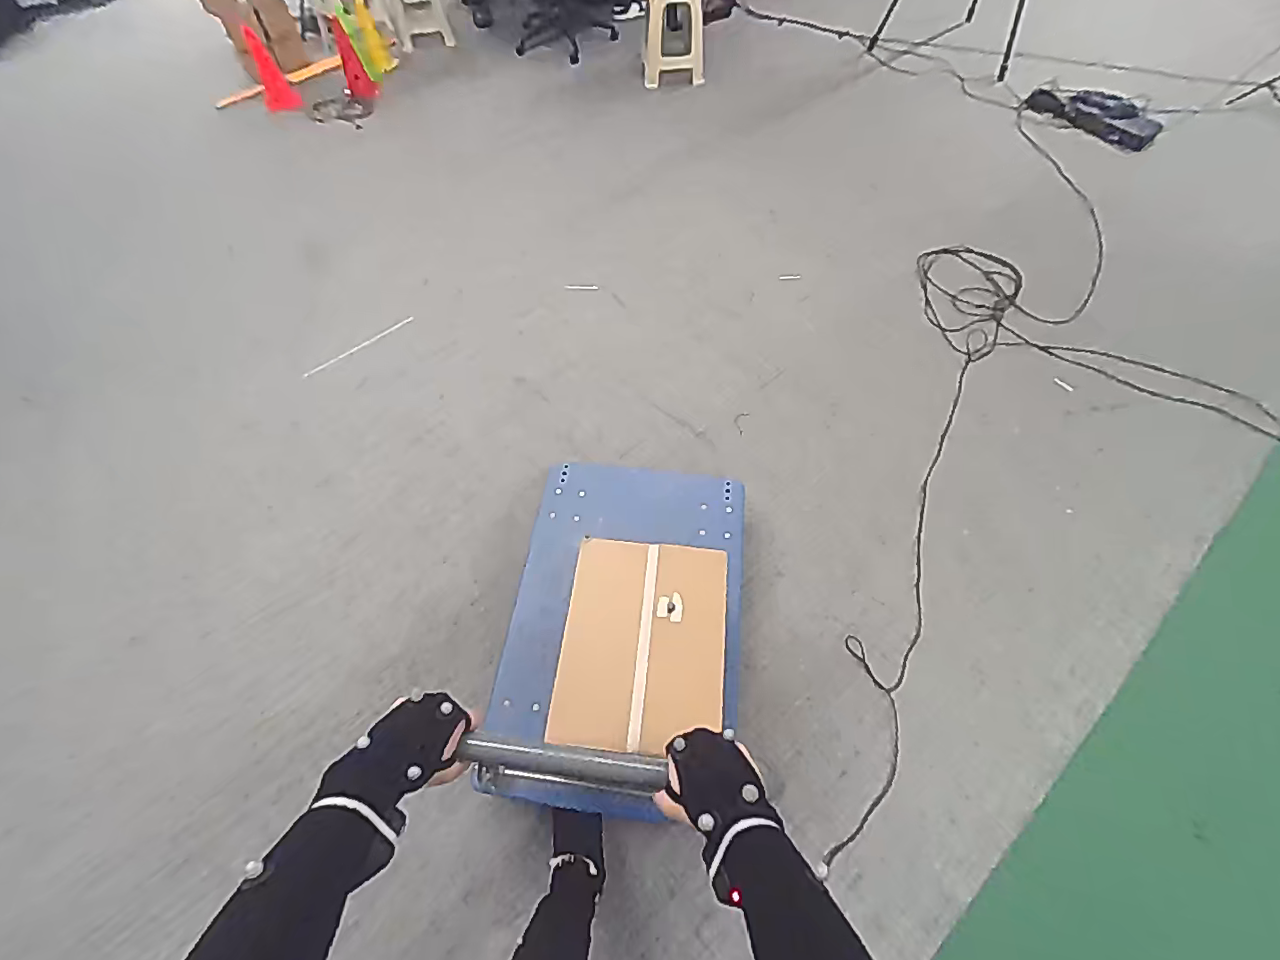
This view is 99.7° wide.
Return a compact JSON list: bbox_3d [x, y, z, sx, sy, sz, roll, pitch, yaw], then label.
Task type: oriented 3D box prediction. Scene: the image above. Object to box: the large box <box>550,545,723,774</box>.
[{"bbox_3d":[0.008,0.401,1.193,0.320,0.320,0.408,6,58,3],"label":"large box"}]
